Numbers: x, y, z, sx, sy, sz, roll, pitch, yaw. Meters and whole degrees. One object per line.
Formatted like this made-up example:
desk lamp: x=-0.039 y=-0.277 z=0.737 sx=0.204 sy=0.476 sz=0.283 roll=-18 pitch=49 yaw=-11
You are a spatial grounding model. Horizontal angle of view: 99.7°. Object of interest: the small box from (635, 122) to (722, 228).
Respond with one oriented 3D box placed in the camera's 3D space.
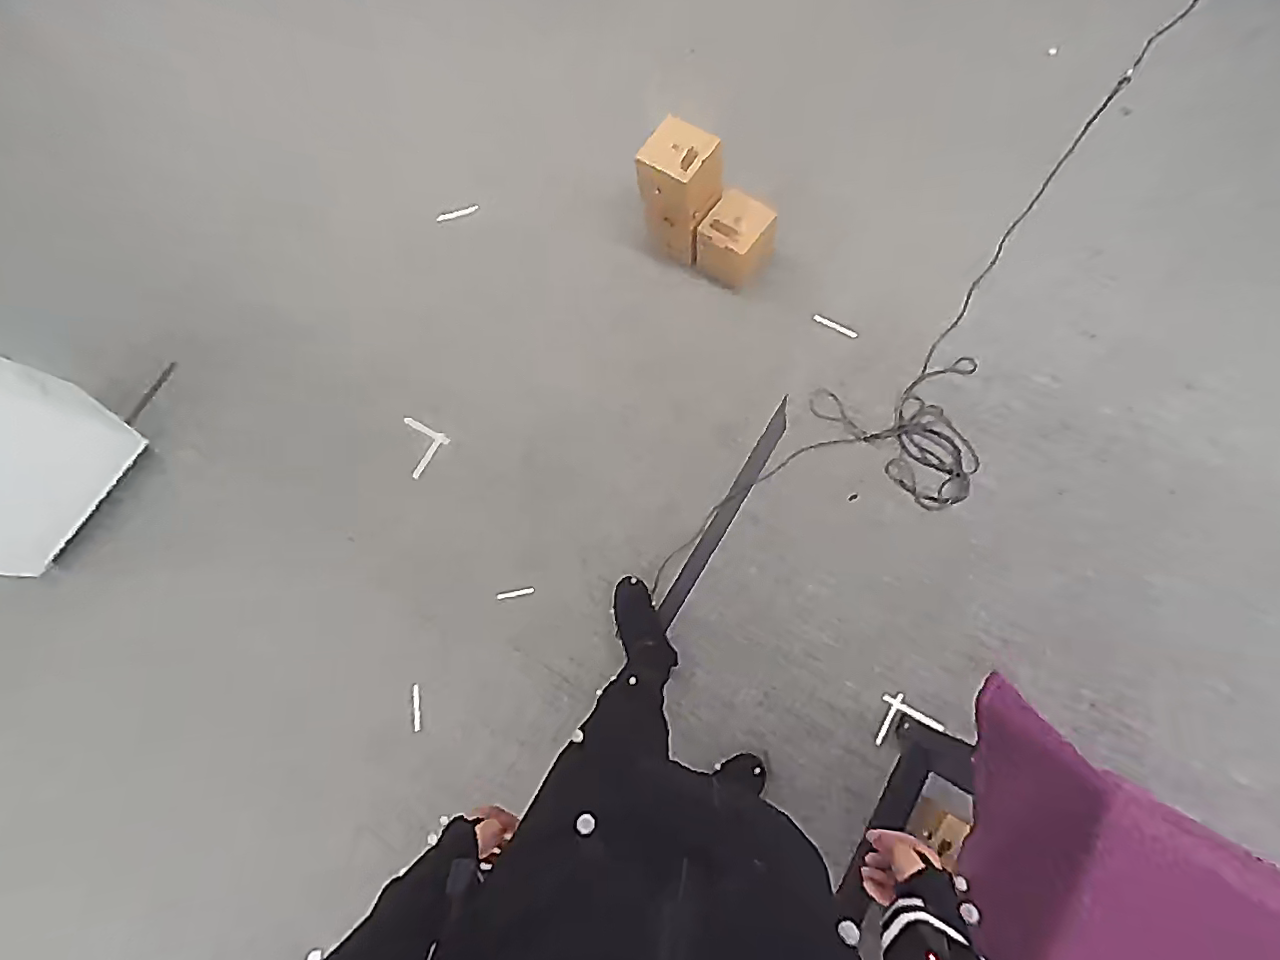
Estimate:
small box: x=0.112 y=-0.843 z=1.515 sx=0.179 sy=0.176 sz=0.168 roll=35 pitch=81 yaw=15
